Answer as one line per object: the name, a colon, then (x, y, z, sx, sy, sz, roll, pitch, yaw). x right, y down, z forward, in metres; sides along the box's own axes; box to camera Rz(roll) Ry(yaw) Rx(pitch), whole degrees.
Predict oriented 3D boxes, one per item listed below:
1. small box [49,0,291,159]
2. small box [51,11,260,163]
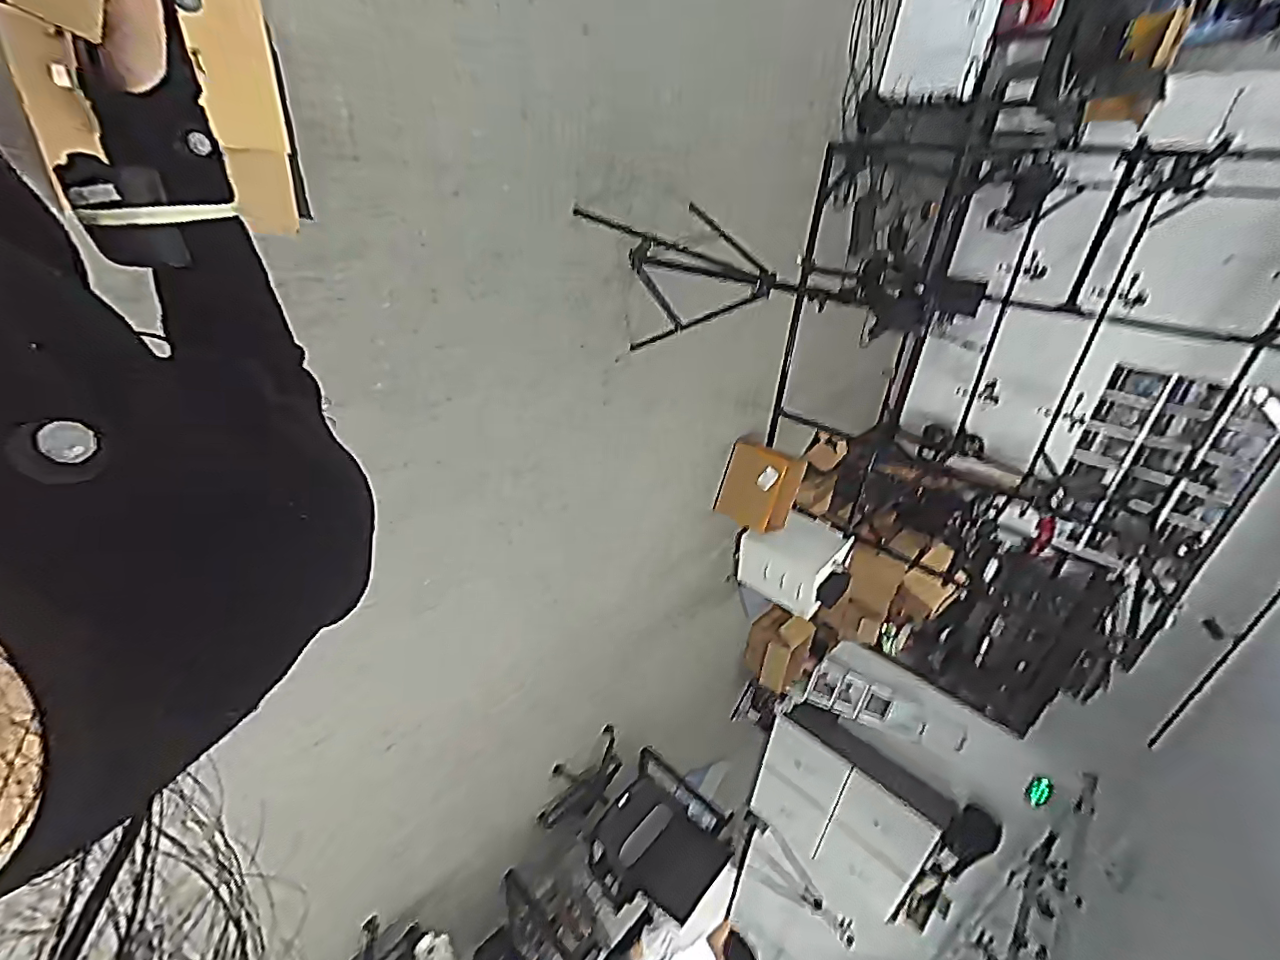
small box: (-0.552, -0.487, 0.640, 0.179, 0.176, 0.168, -21, 128, -40)
small box: (-0.662, -0.546, 0.744, 0.168, 0.176, 0.179, -23, 129, -40)
